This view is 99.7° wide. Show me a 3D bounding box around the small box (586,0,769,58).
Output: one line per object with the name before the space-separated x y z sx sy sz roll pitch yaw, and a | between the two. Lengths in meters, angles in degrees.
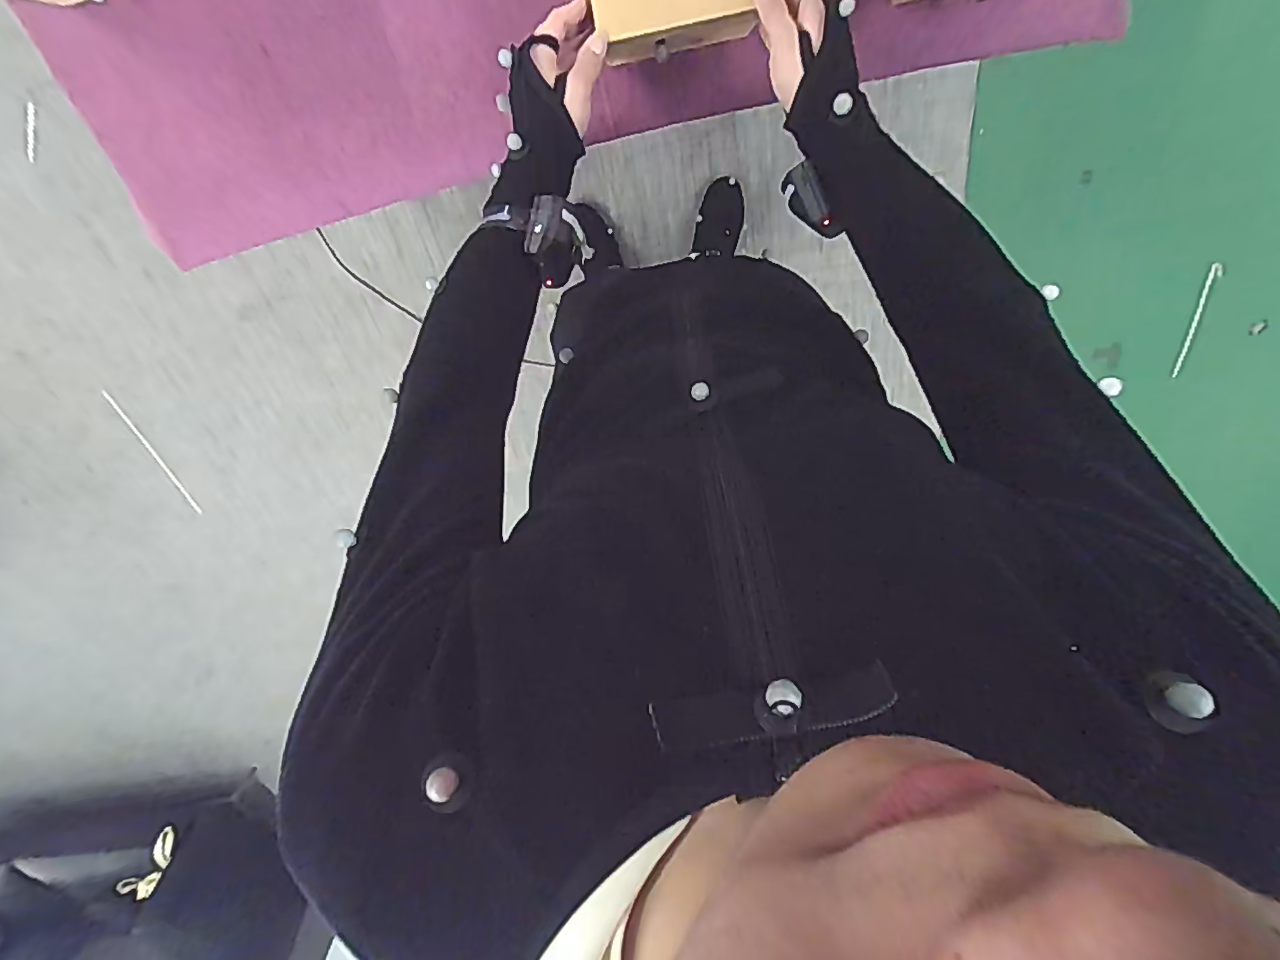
small box | 0.027 -0.526 0.512 0.168 0.176 0.179 -7 121 7
